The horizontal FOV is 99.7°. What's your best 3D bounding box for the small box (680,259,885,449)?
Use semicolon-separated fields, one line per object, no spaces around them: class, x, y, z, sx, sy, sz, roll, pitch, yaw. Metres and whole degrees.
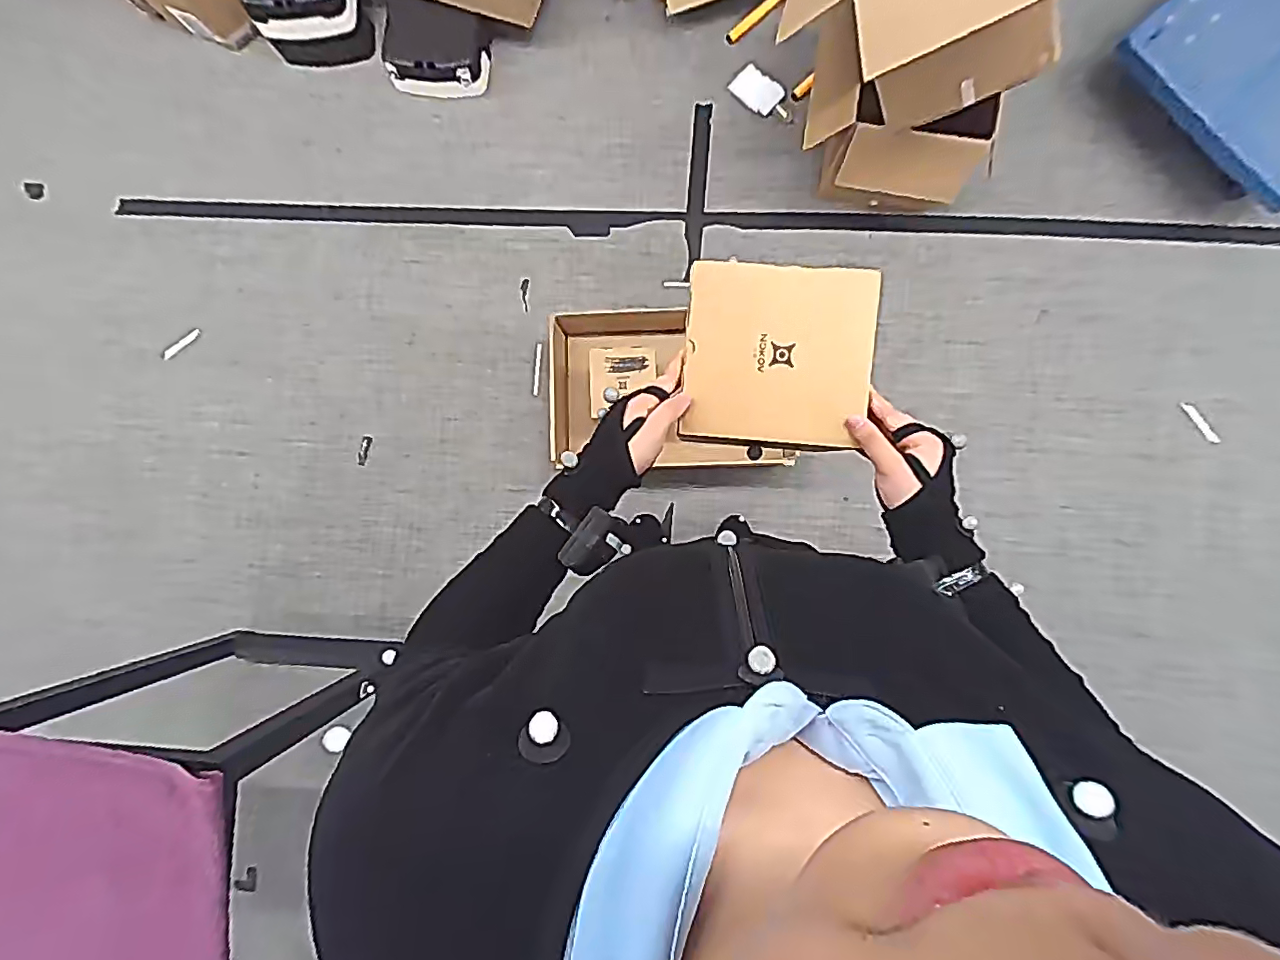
small box;0.138;-0.123;0.583;0.179;0.176;0.168;5;93;6
